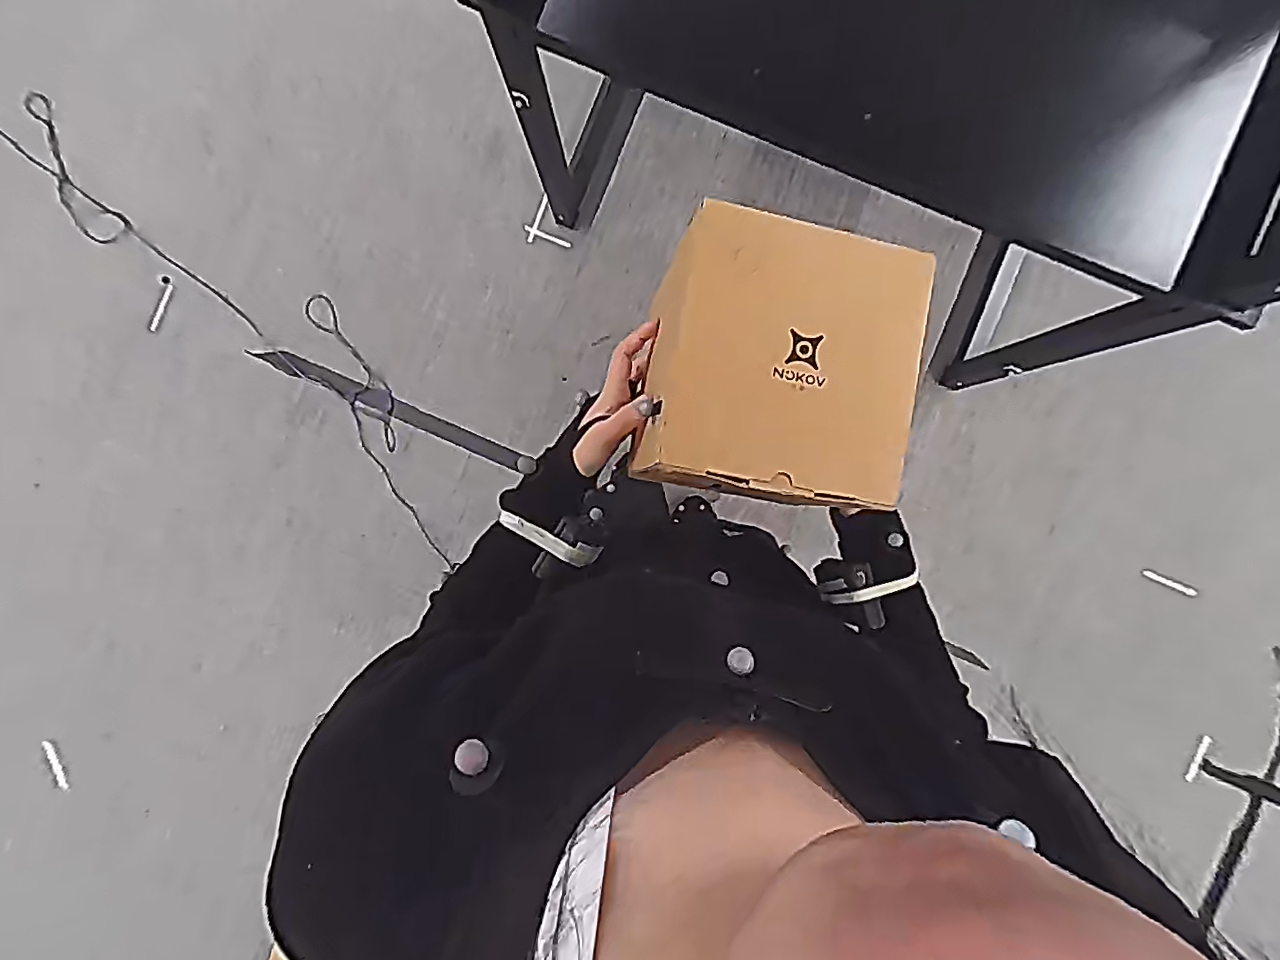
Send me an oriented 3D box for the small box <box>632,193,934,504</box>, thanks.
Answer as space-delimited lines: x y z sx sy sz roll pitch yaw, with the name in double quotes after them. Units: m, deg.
0.093 -0.082 0.427 0.168 0.176 0.179 10 89 -8 "small box"
